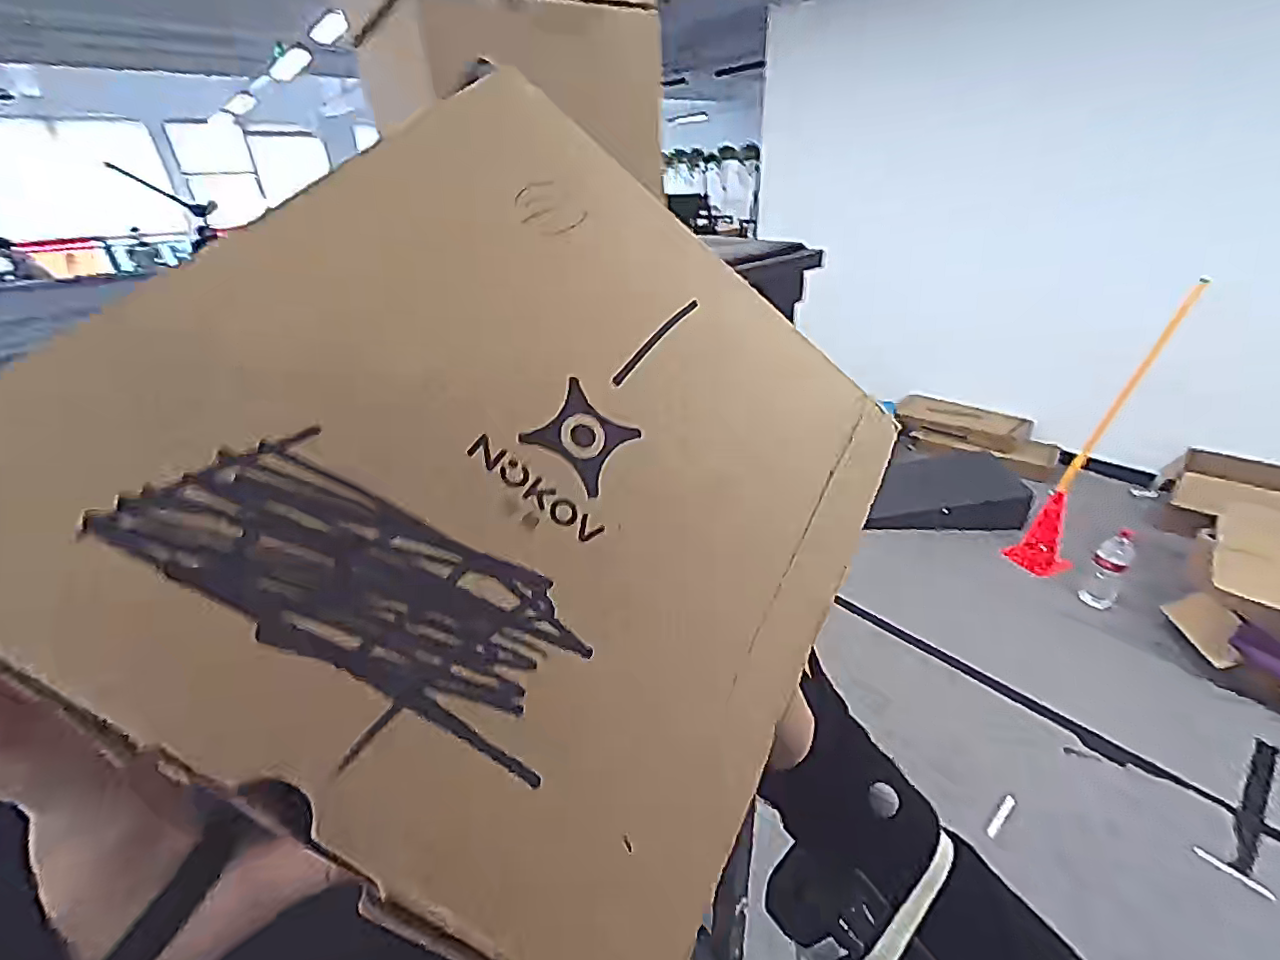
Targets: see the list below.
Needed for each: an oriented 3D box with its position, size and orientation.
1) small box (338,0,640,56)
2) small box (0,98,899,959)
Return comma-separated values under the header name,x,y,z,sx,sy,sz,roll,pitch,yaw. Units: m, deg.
name,x,y,z,sx,sy,sz,roll,pitch,yaw
small box,-0.116,-0.396,0.353,0.168,0.176,0.179,-23,34,-29
small box,-0.047,0.018,0.207,0.168,0.176,0.179,38,63,-7
